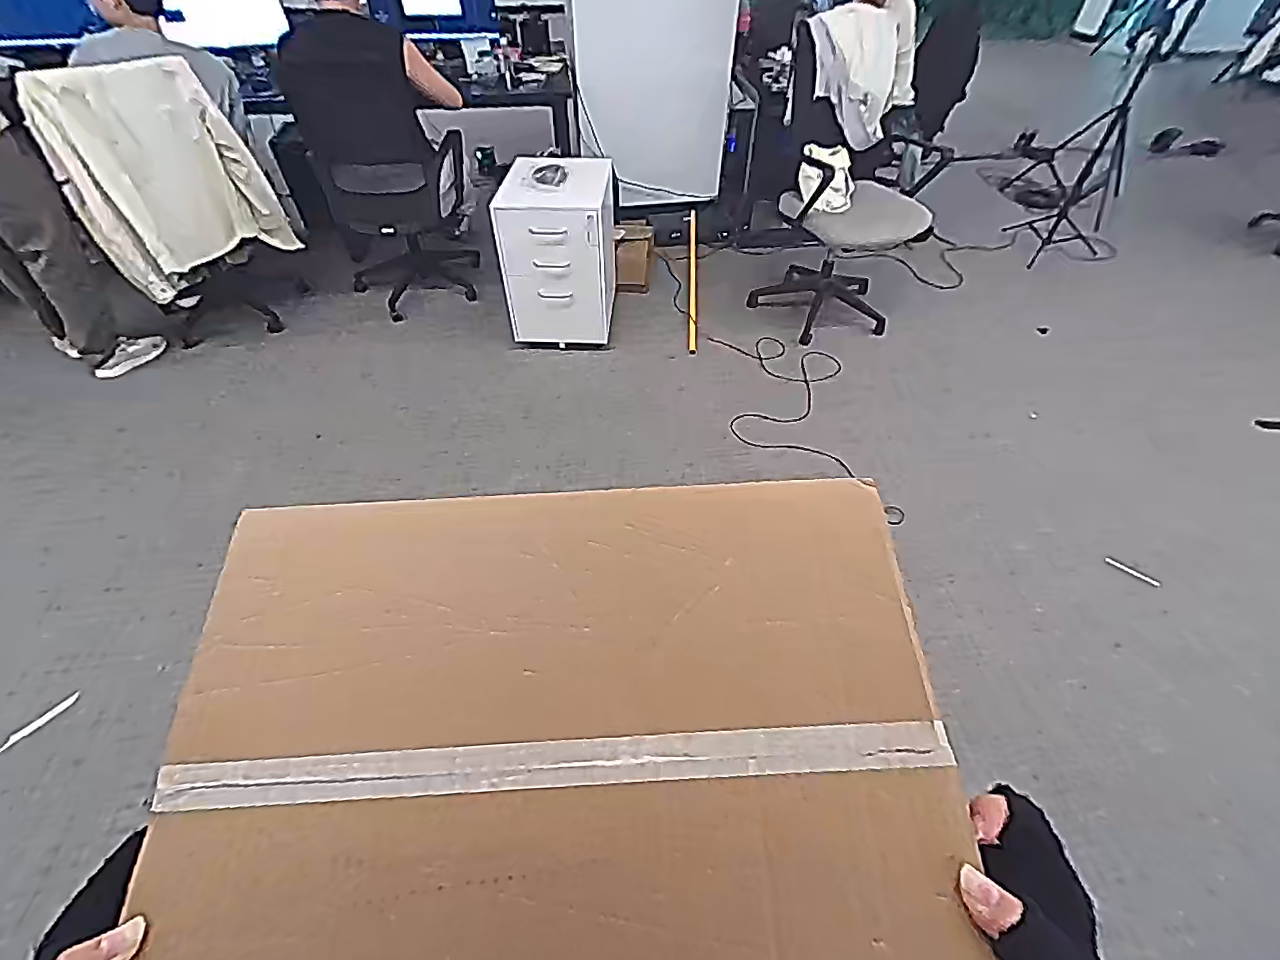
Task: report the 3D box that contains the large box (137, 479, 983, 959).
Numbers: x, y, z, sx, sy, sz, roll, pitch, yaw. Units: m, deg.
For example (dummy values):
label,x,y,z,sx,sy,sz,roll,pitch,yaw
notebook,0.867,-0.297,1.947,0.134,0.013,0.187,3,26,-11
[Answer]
label,x,y,z,sx,sy,sz,roll,pitch,yaw
large box,-0.042,0.215,0.426,0.408,0.320,0.320,-3,64,0
